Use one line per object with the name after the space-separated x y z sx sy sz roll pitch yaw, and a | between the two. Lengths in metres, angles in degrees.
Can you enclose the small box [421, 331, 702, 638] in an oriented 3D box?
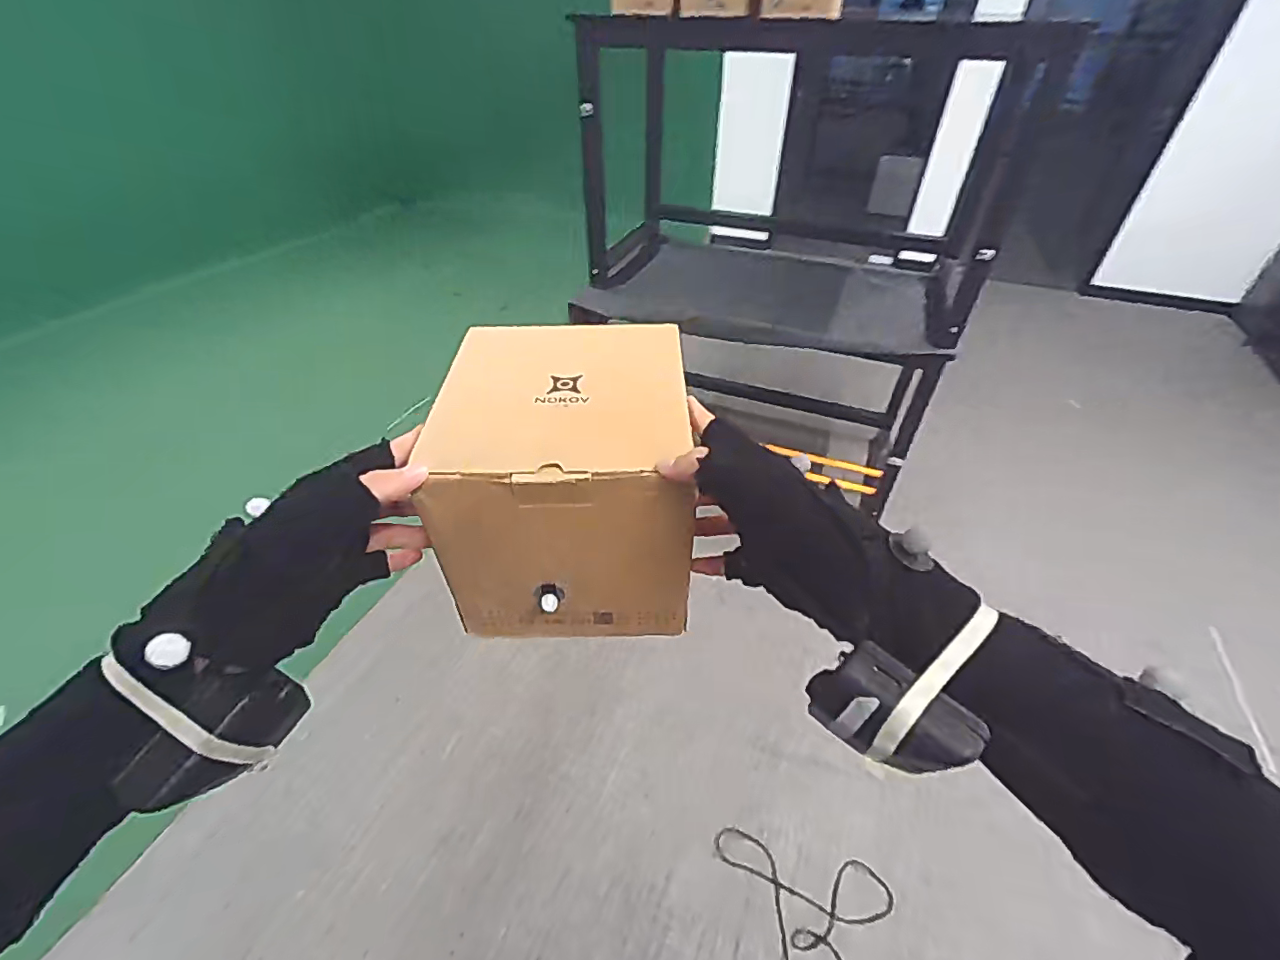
-0.044 0.000 0.422 0.168 0.176 0.179 0 43 1 | small box
